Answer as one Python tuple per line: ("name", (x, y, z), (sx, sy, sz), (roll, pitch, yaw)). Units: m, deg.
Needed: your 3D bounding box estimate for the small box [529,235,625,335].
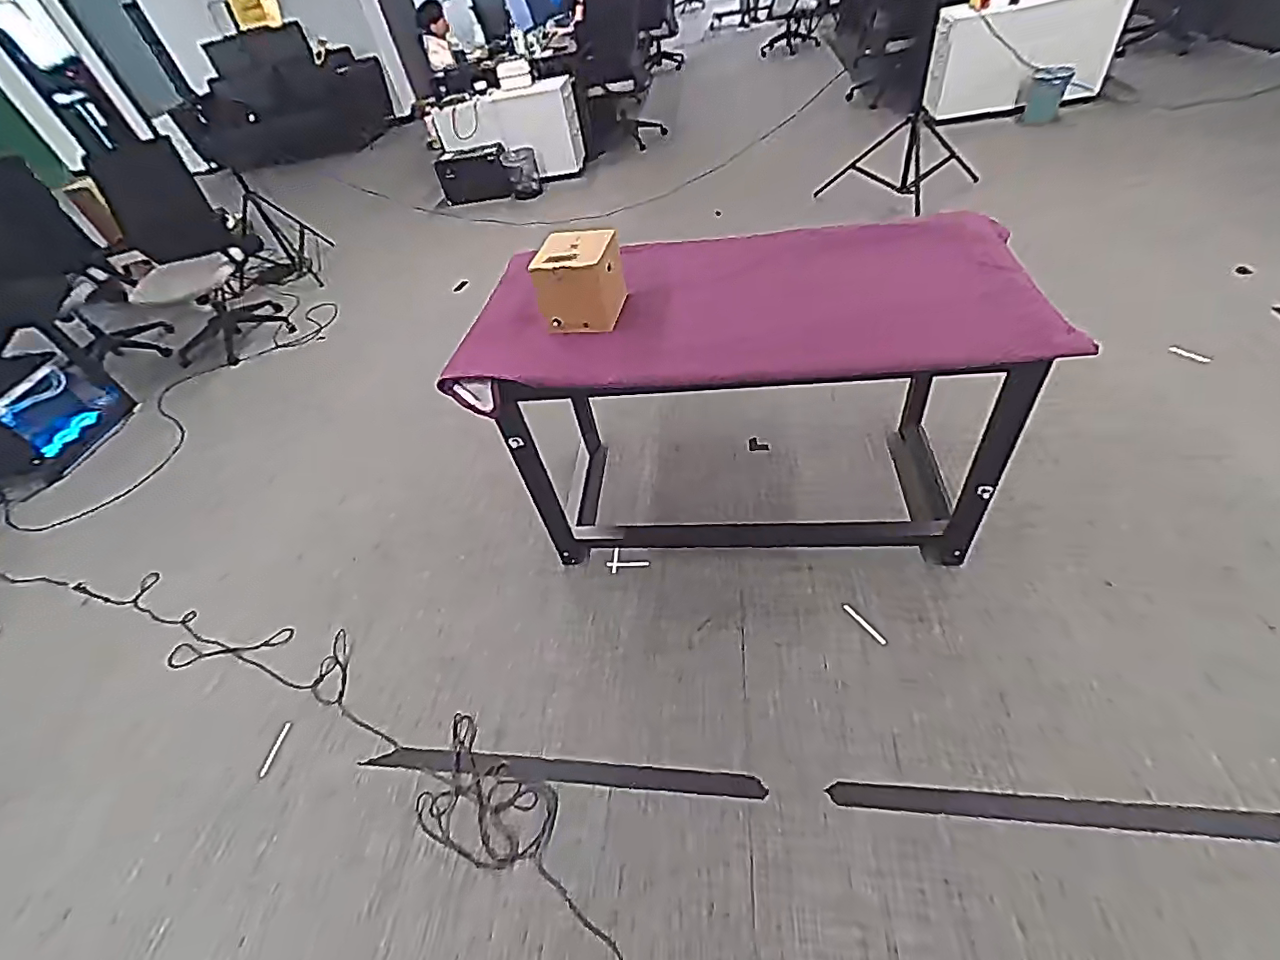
("small box", (-0.141, -0.461, 1.294), (0.168, 0.176, 0.179), (3, 48, 15))
